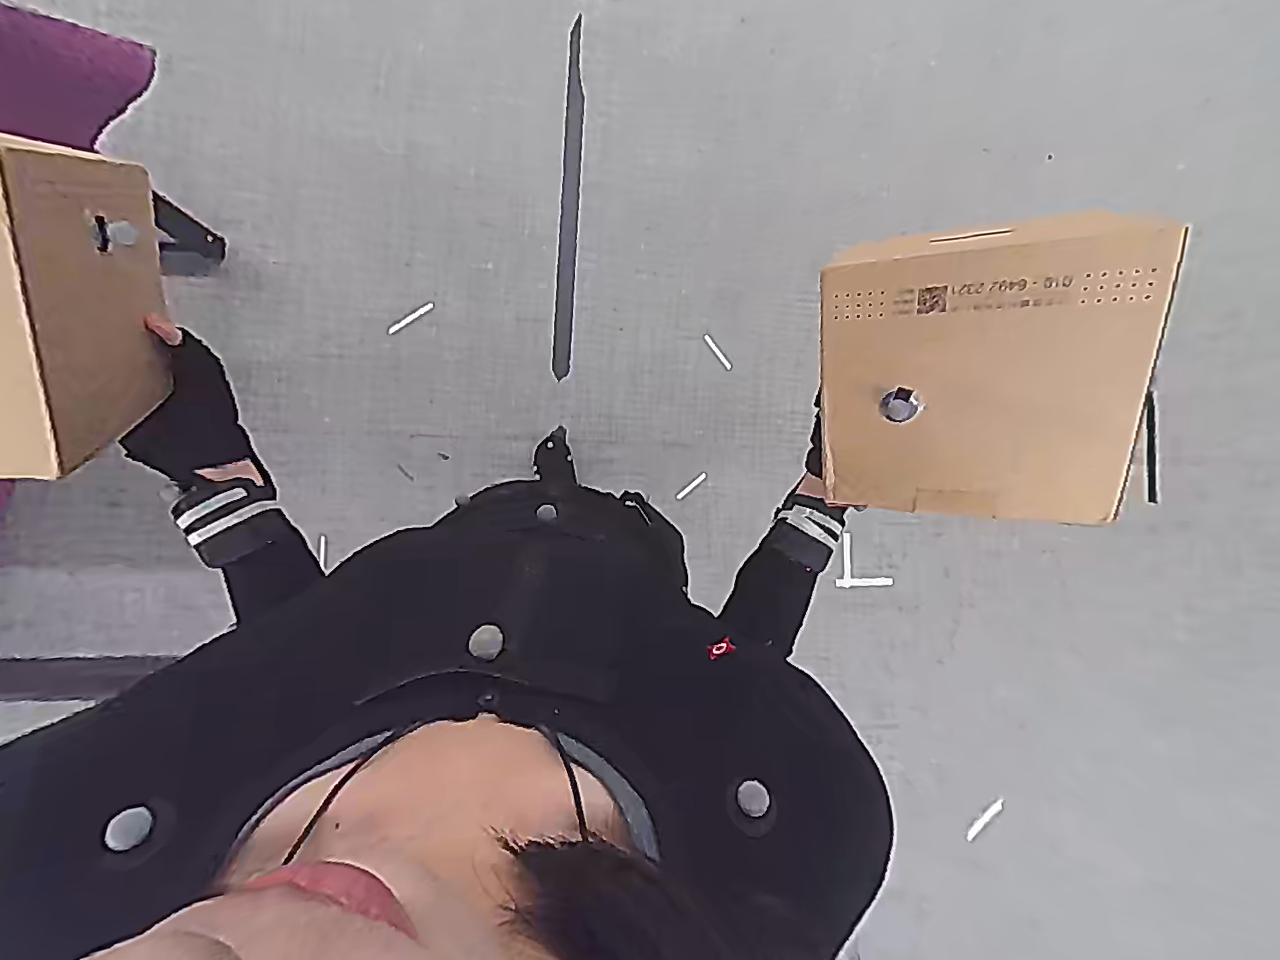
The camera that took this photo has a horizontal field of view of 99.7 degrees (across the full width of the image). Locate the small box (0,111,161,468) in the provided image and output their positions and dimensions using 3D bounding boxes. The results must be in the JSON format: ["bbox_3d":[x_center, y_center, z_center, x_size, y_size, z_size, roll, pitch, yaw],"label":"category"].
[{"bbox_3d":[-0.402,-0.118,0.291,0.168,0.179,0.176,3,114,-24],"label":"small box"}]

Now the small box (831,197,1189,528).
[{"bbox_3d":[0.228,-0.088,0.374,0.168,0.179,0.176,5,119,27],"label":"small box"}]
